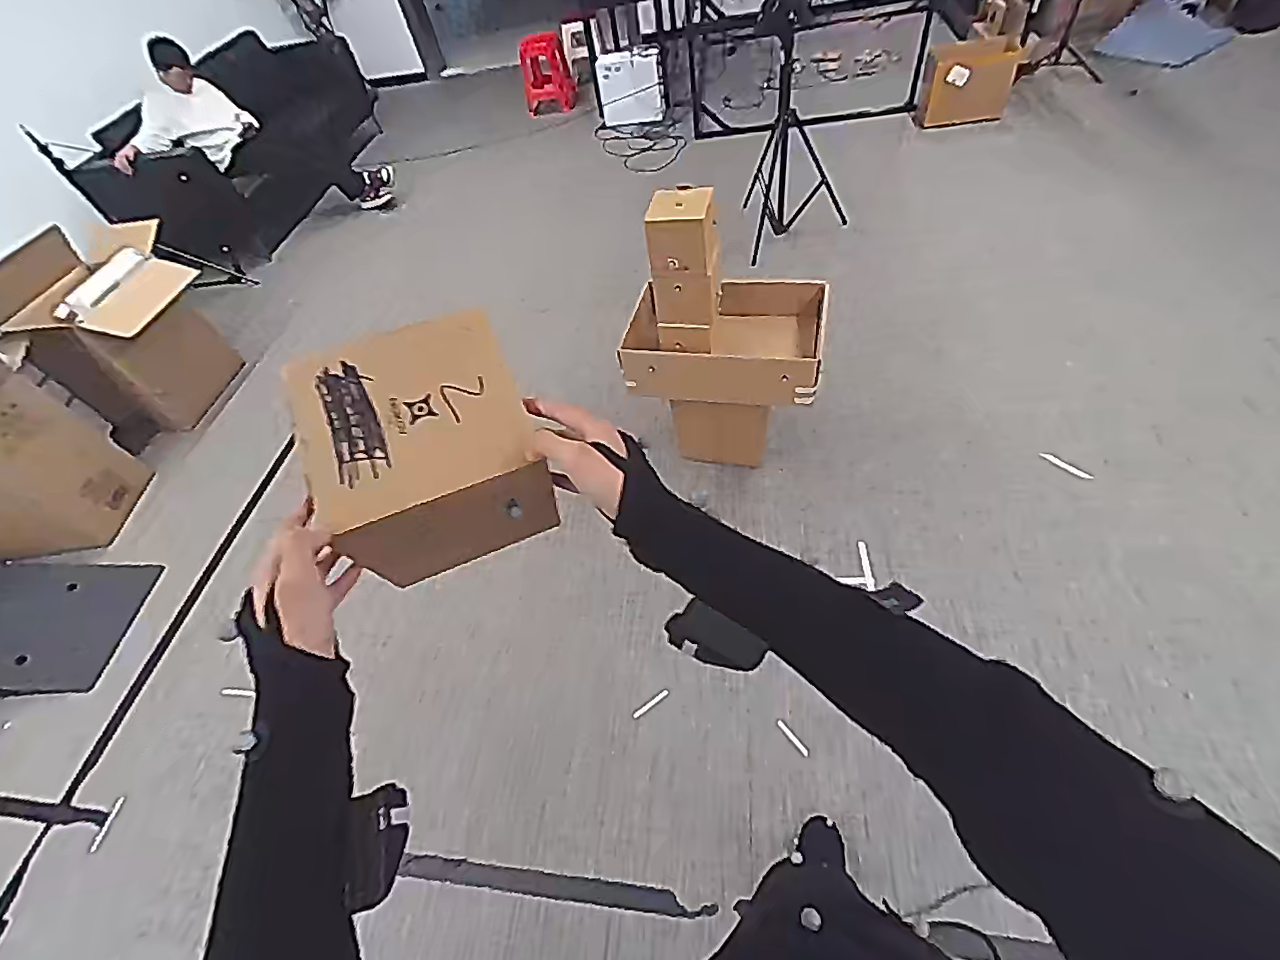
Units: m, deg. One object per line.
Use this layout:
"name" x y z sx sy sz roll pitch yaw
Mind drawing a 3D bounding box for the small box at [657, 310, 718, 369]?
"small box" 0.162 -0.482 1.765 0.168 0.176 0.179 6 53 14

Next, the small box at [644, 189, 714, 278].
"small box" 0.116 -0.689 1.515 0.168 0.176 0.179 5 52 15

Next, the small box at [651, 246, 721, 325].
"small box" 0.145 -0.589 1.641 0.179 0.176 0.168 7 54 15
